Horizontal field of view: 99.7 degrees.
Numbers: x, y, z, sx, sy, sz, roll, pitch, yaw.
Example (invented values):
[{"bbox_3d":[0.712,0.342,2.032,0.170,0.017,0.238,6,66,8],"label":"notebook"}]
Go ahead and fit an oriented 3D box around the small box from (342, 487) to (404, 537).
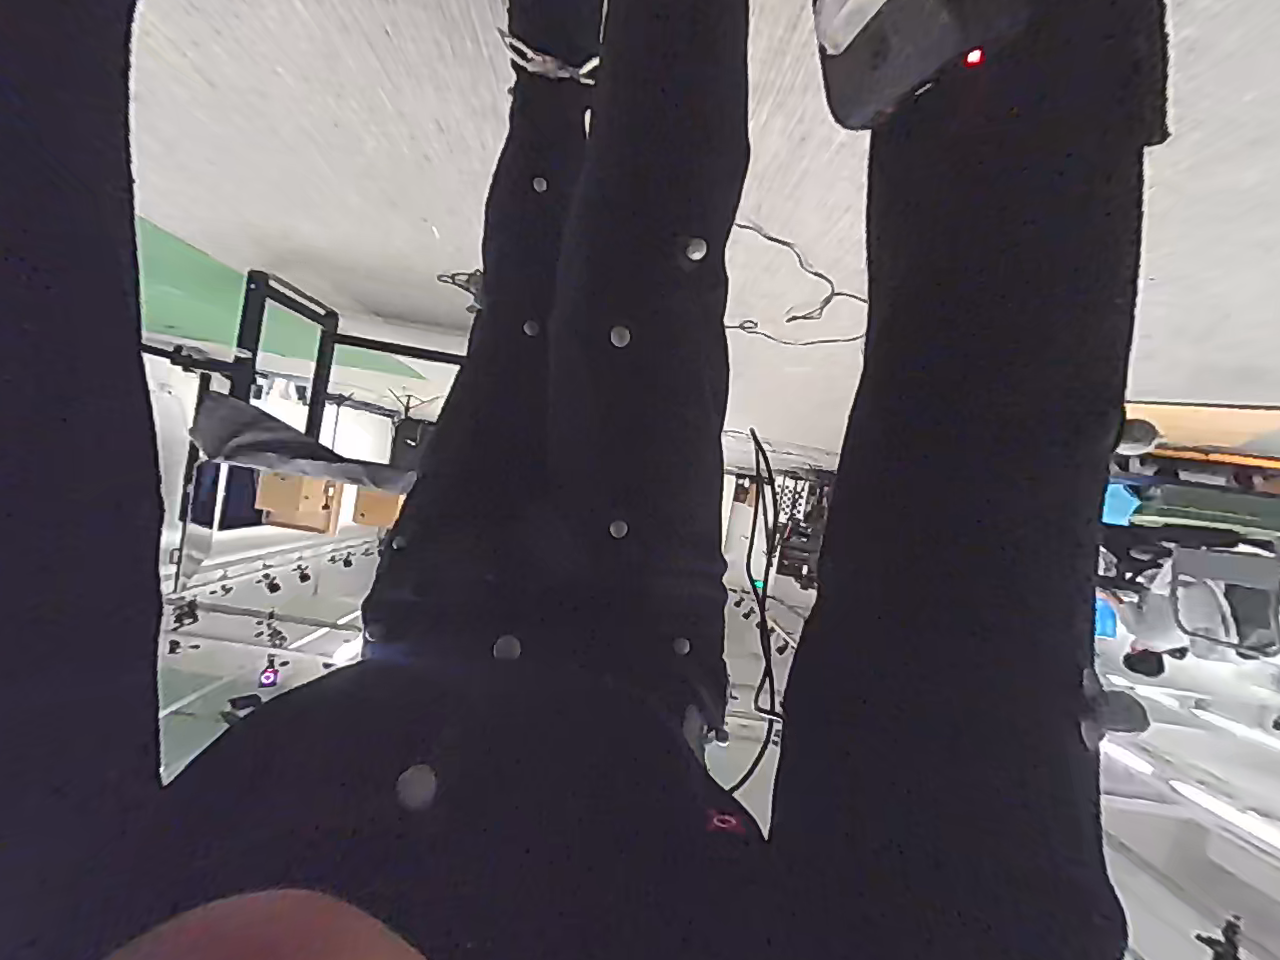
[{"bbox_3d":[-1.068,0.127,2.178,0.179,0.176,0.168,10,179,-4],"label":"small box"}]
